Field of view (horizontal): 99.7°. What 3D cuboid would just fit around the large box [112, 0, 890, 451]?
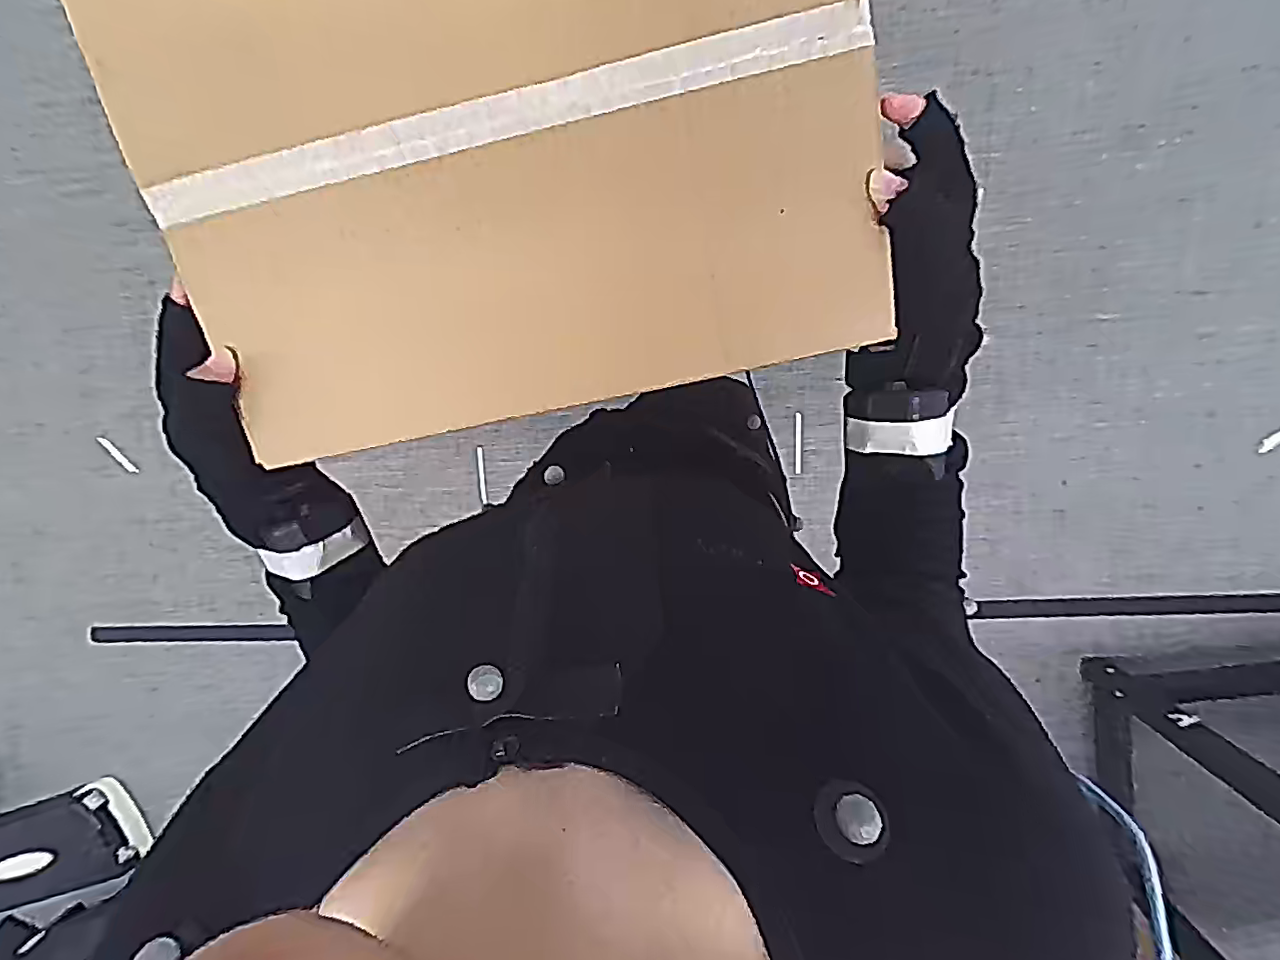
[{"bbox_3d":[-0.070,-0.239,0.448,0.408,0.320,0.320,-11,106,5],"label":"large box"}]
